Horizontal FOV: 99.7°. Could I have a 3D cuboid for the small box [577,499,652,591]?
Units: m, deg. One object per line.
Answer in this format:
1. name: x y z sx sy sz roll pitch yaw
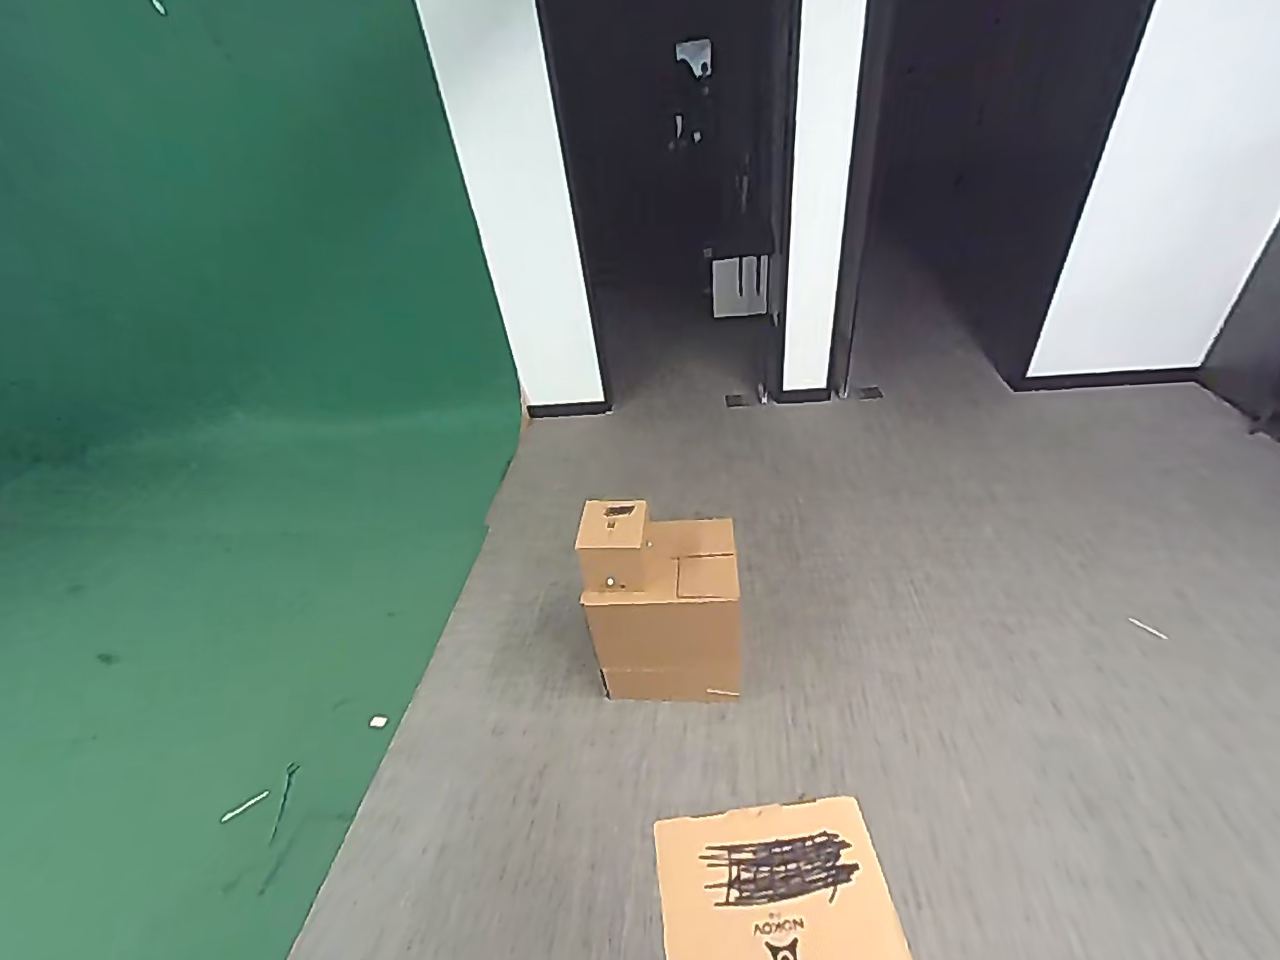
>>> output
1. small box: -0.059 0.169 1.428 0.168 0.176 0.179 -1 41 8
